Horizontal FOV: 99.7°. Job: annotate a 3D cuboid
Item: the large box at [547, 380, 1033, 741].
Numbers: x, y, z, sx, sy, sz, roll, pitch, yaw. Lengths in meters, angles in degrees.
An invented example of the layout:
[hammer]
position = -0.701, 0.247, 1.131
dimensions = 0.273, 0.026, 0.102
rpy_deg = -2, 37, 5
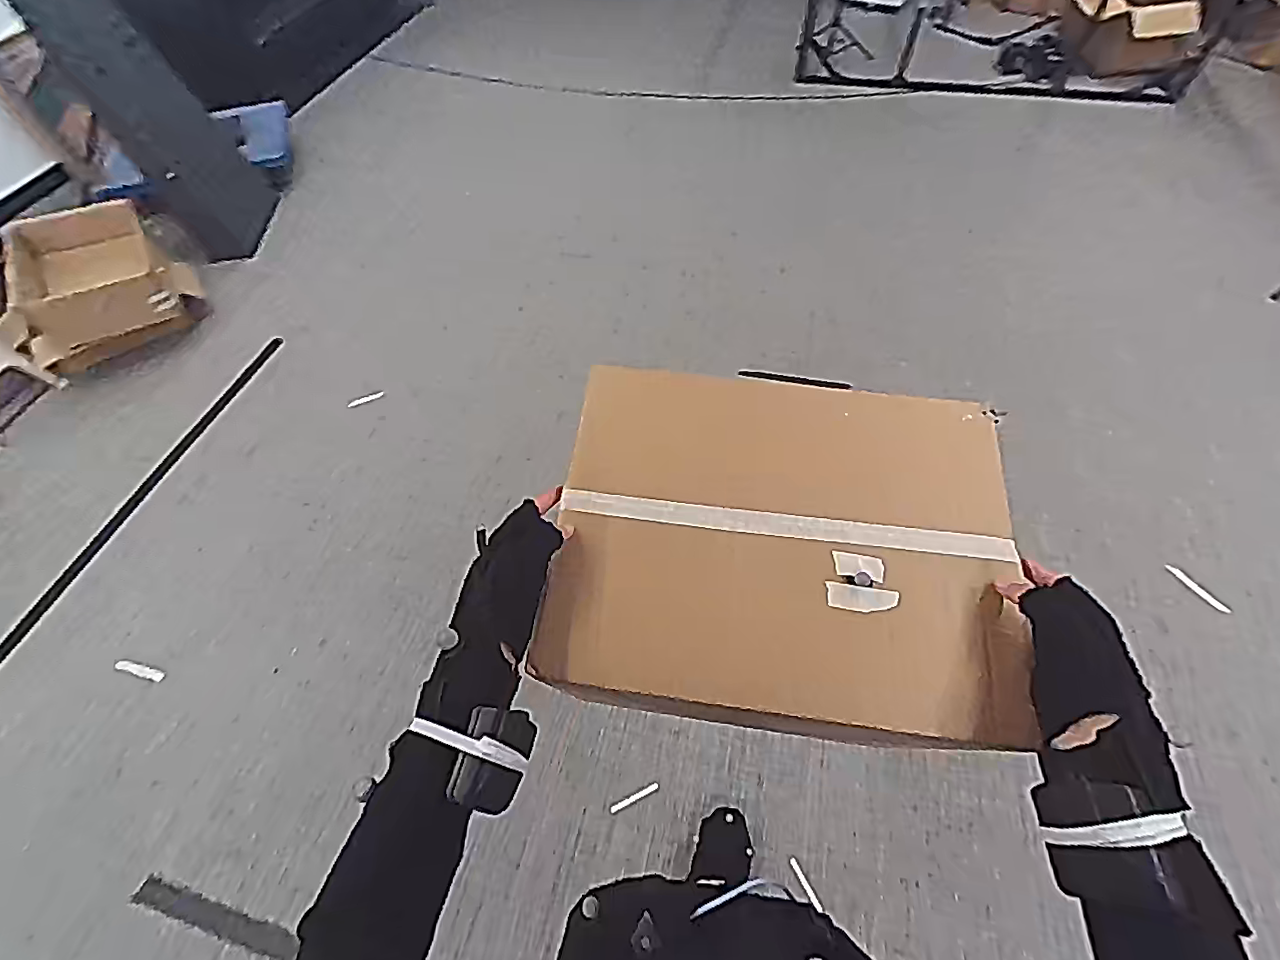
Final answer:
[large box]
position = 0.137, 0.112, 0.637
dimensions = 0.408, 0.320, 0.320
rpy_deg = 7, 66, 5
